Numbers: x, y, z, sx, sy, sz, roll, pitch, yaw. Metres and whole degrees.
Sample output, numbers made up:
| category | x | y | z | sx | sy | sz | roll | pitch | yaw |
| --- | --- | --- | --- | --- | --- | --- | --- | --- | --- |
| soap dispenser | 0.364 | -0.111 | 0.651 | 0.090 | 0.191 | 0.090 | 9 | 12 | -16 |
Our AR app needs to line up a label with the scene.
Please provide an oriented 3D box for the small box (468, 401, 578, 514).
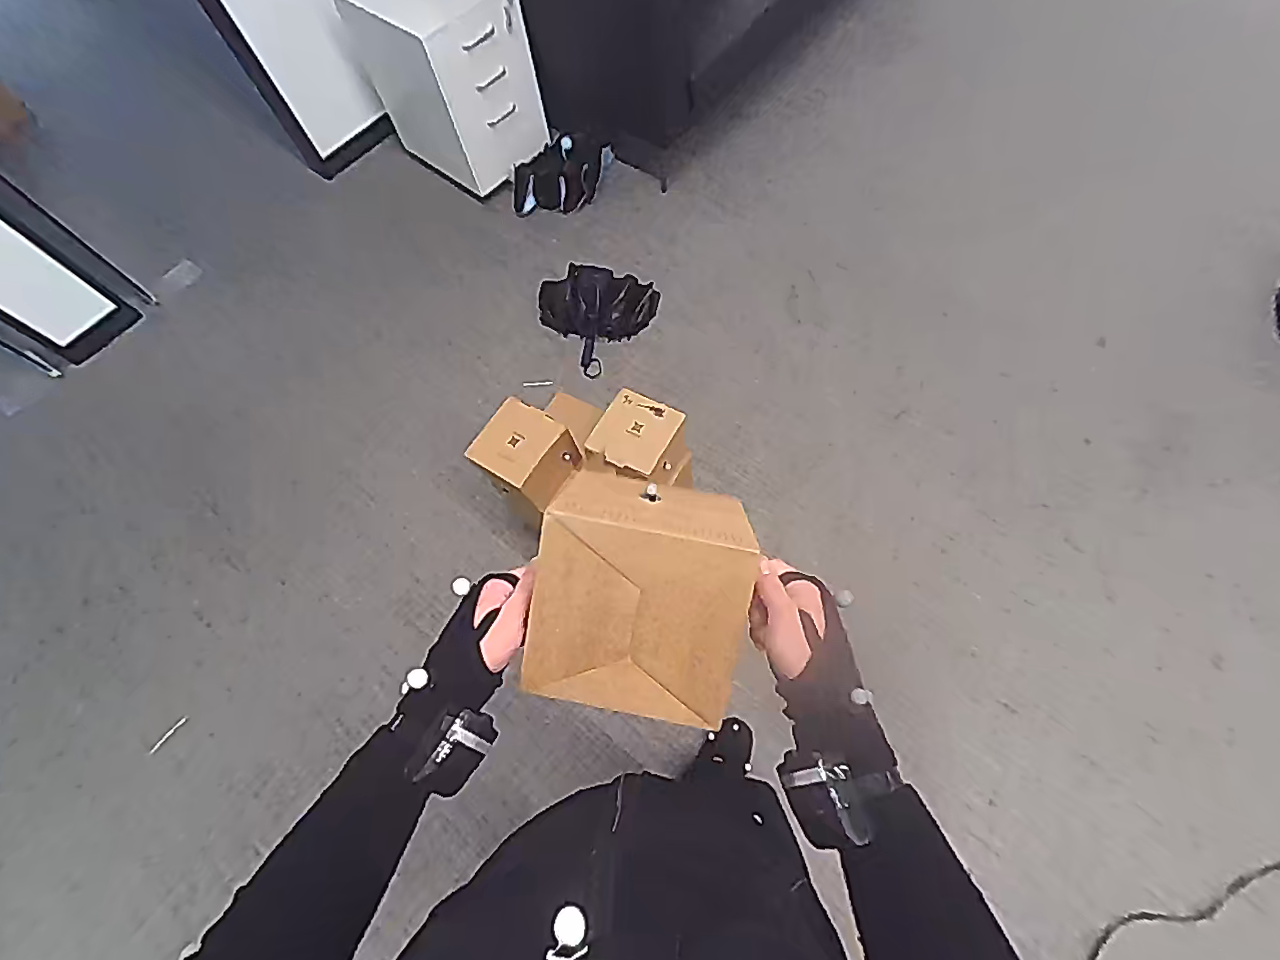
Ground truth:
| category | x | y | z | sx | sy | sz | roll | pitch | yaw |
| --- | --- | --- | --- | --- | --- | --- | --- | --- | --- |
| small box | -0.262 | -0.047 | 1.272 | 0.168 | 0.176 | 0.179 | 28 | 75 | 18 |

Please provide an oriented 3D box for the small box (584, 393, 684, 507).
| category | x | y | z | sx | sy | sz | roll | pitch | yaw |
| --- | --- | --- | --- | --- | --- | --- | --- | --- | --- |
| small box | -0.004 | -0.063 | 1.251 | 0.168 | 0.176 | 0.179 | 25 | 69 | 16 |
